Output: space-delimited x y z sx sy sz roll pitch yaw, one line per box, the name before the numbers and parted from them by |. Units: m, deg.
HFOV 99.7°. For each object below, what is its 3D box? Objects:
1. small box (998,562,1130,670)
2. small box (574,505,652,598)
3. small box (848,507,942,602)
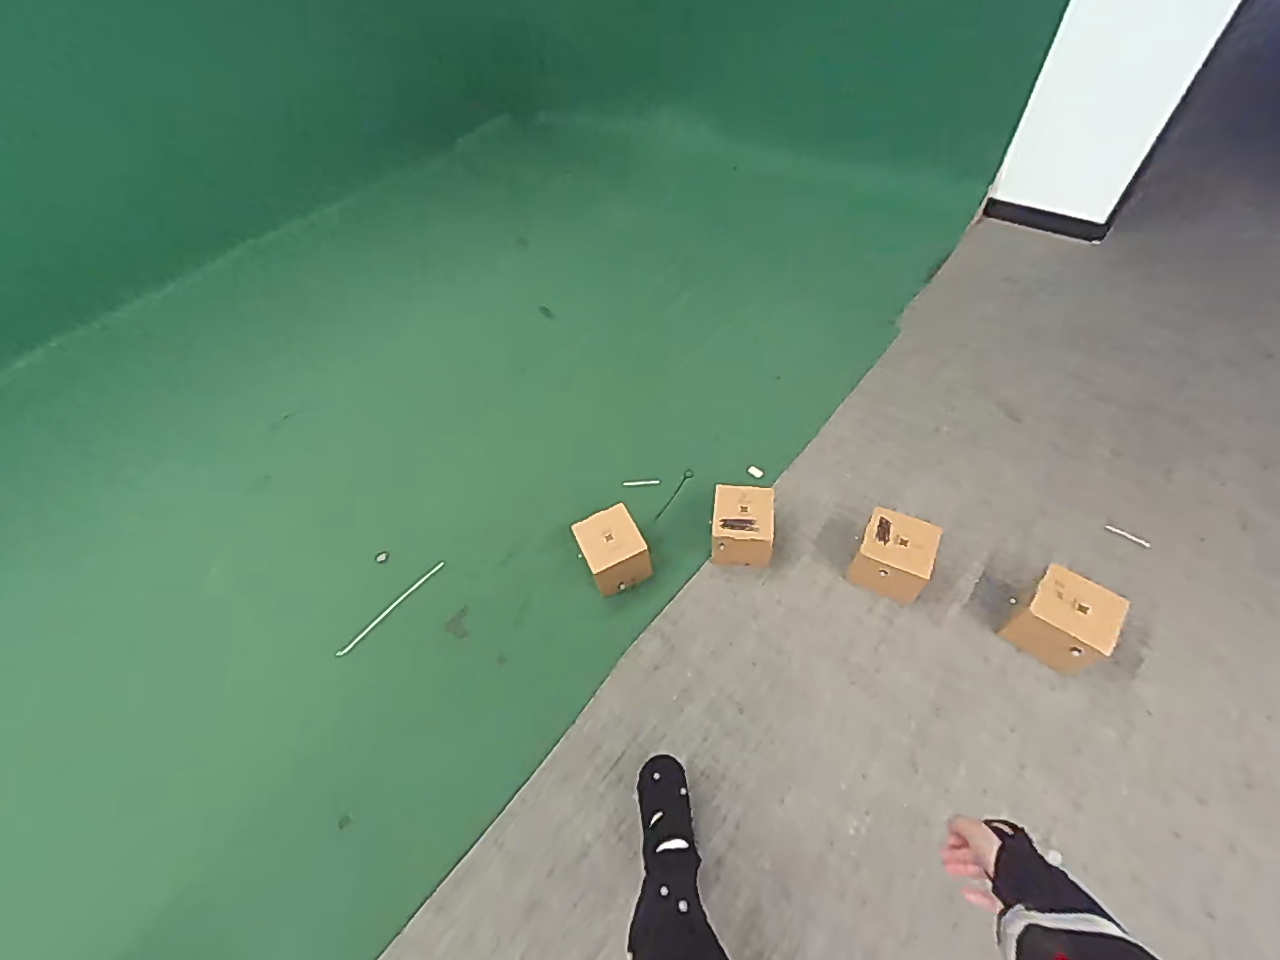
small box | 1.032 0.341 1.328 0.179 0.176 0.168 33 63 27
small box | -0.075 0.210 1.569 0.168 0.176 0.179 -24 55 -10
small box | 0.685 0.206 1.471 0.179 0.176 0.168 21 59 20
